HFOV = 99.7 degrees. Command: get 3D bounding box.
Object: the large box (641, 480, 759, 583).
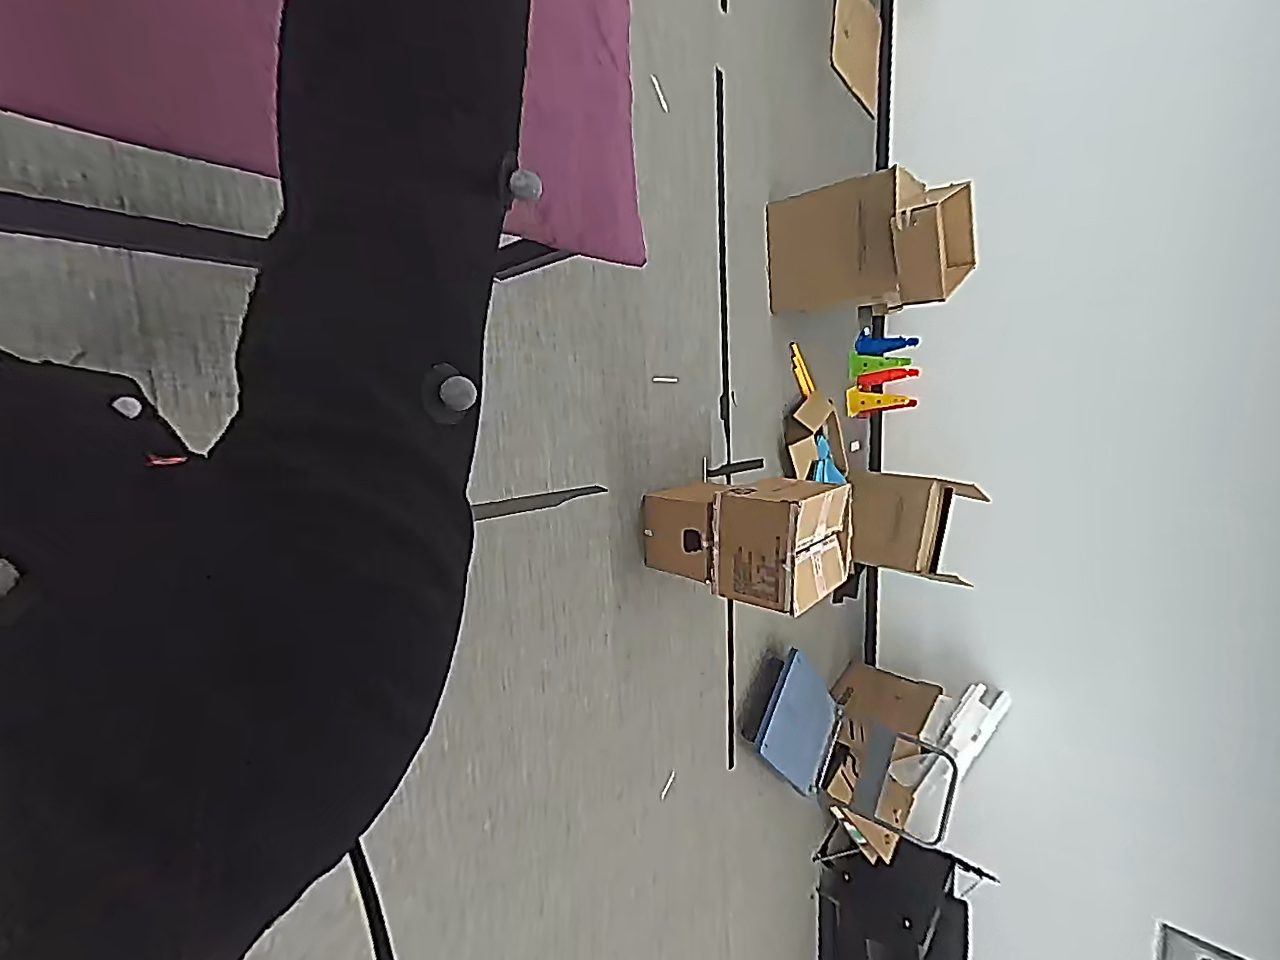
[{"bbox_3d":[0.254,0.193,2.235,0.408,0.320,0.320,-11,103,-46],"label":"large box"}]
